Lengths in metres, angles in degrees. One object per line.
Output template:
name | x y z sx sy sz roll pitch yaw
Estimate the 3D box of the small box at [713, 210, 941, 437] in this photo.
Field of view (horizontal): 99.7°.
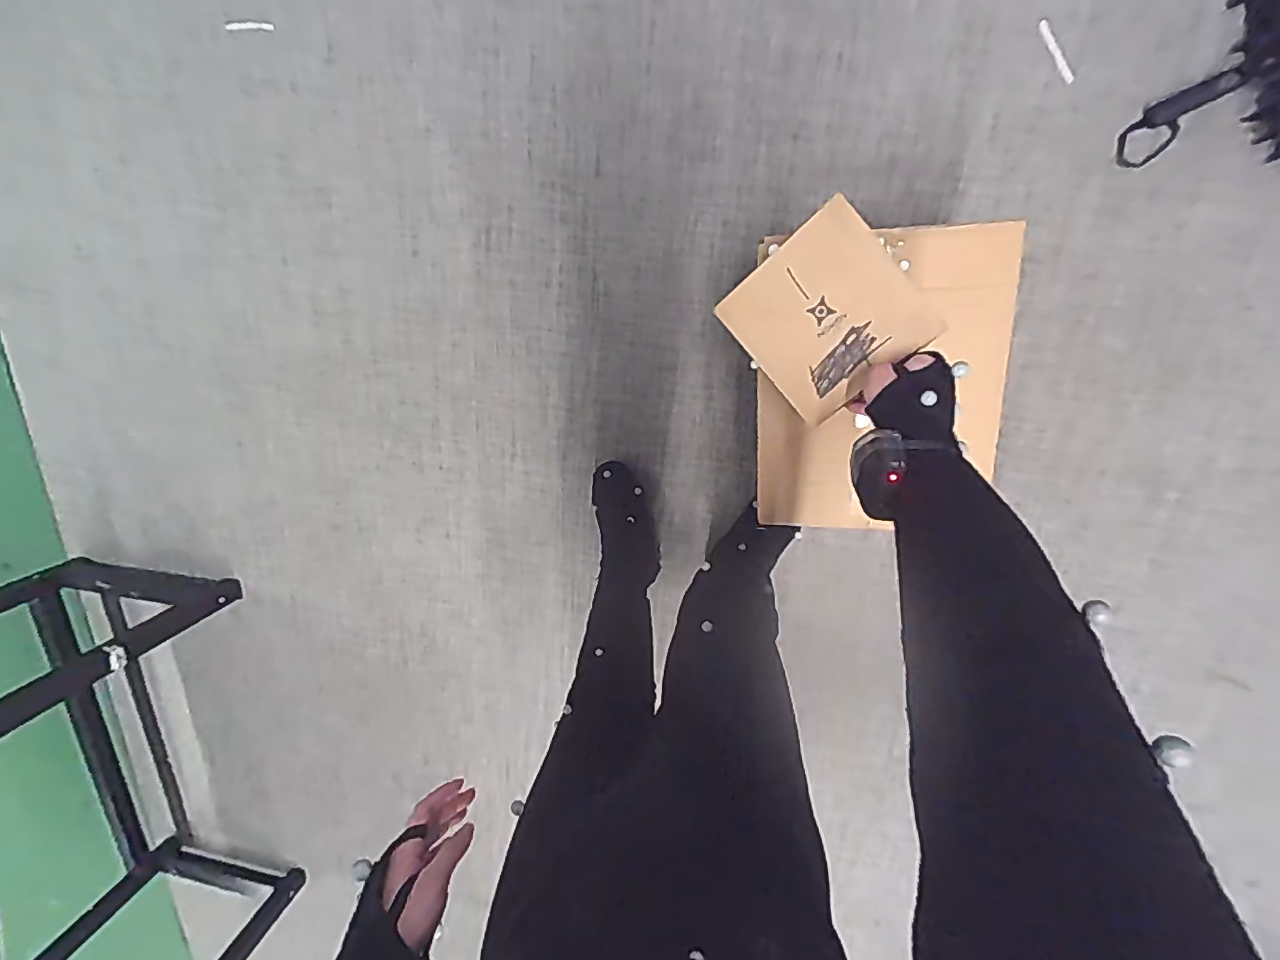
small box | 0.213 -0.182 0.641 0.168 0.176 0.179 -40 92 22
